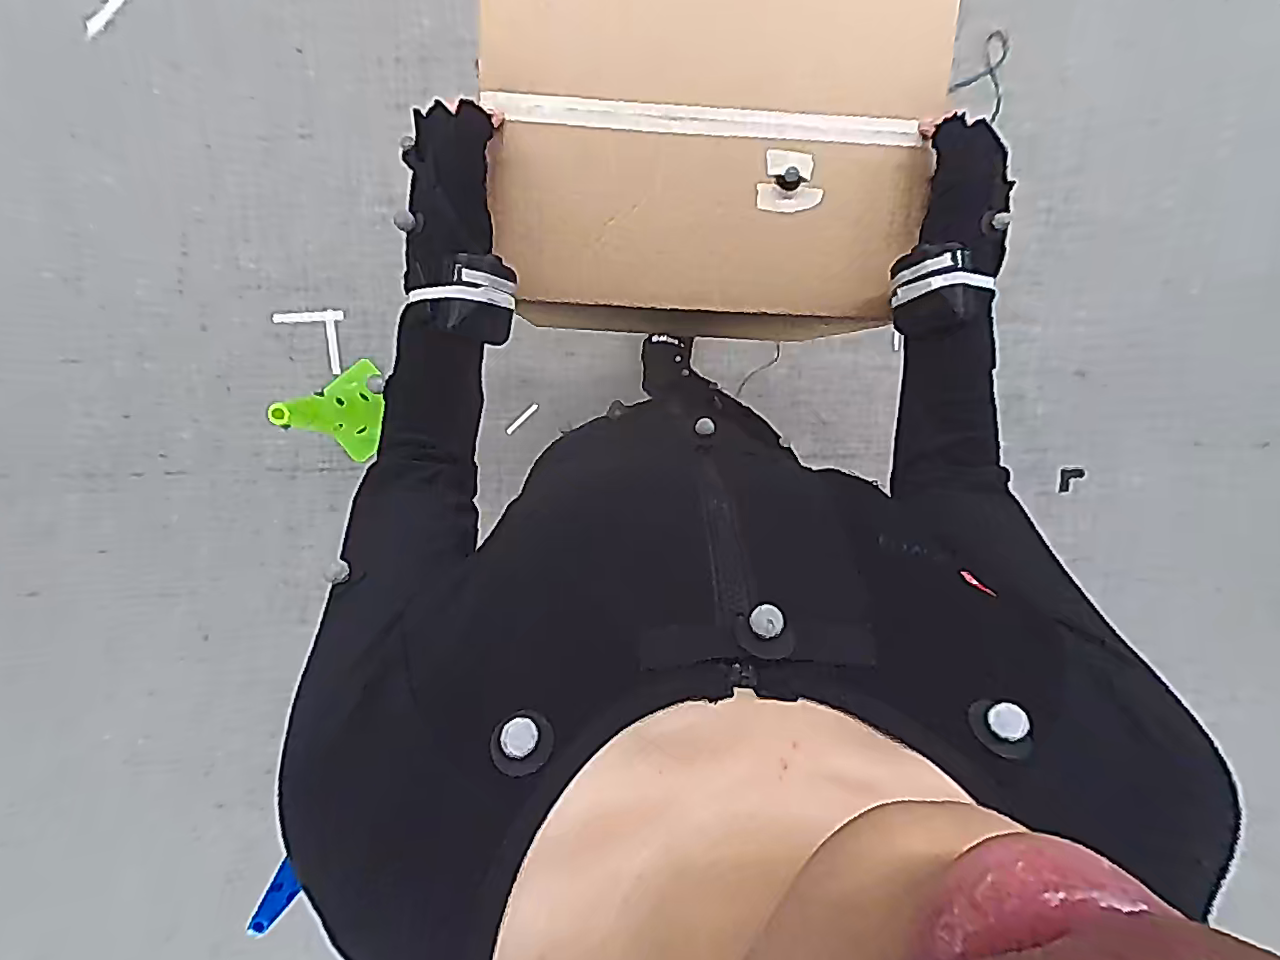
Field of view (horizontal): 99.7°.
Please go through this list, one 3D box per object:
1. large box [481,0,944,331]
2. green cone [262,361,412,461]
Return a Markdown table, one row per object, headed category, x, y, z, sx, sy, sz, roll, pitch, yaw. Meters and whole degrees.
| category | x | y | z | sx | sy | sz | roll | pitch | yaw |
| --- | --- | --- | --- | --- | --- | --- | --- | --- | --- |
| large box | 0.053 | -0.348 | 0.621 | 0.408 | 0.320 | 0.320 | 2 | 101 | -4 |
| green cone | -0.711 | -0.152 | 1.218 | 0.202 | 0.368 | 0.200 | -38 | 97 | 4 |
